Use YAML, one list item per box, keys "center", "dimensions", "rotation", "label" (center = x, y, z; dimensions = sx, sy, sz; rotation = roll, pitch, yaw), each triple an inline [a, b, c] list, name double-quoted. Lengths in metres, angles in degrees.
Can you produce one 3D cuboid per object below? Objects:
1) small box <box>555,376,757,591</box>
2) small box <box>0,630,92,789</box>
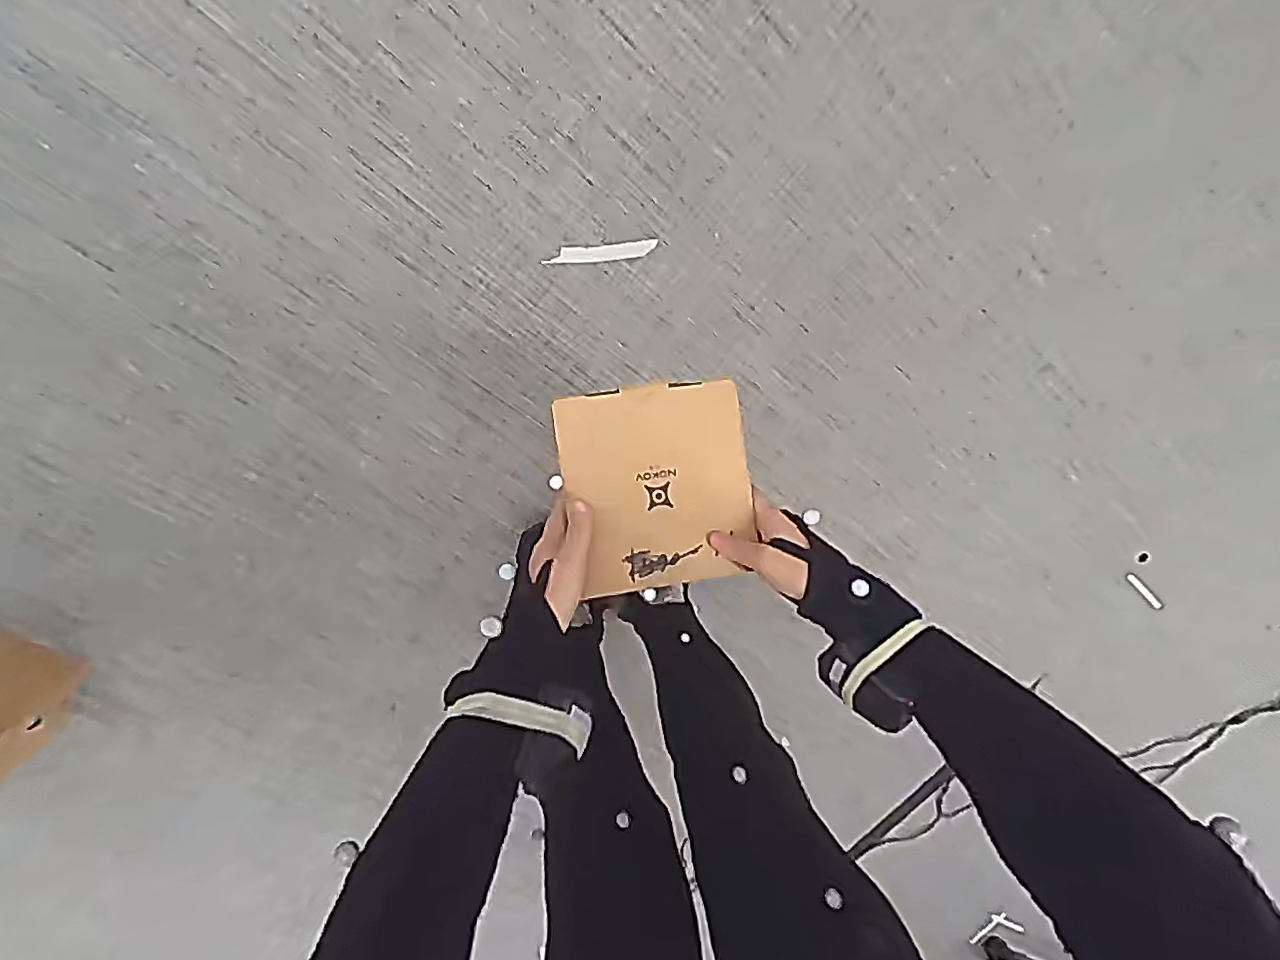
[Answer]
- center: [0.005, 0.003, 0.553]
  dimensions: [0.168, 0.176, 0.179]
  rotation: [-8, 90, -7]
  label: "small box"
- center: [-0.996, 0.352, 0.807]
  dimensions: [0.179, 0.176, 0.168]
  rotation: [31, 102, -16]
  label: "small box"
